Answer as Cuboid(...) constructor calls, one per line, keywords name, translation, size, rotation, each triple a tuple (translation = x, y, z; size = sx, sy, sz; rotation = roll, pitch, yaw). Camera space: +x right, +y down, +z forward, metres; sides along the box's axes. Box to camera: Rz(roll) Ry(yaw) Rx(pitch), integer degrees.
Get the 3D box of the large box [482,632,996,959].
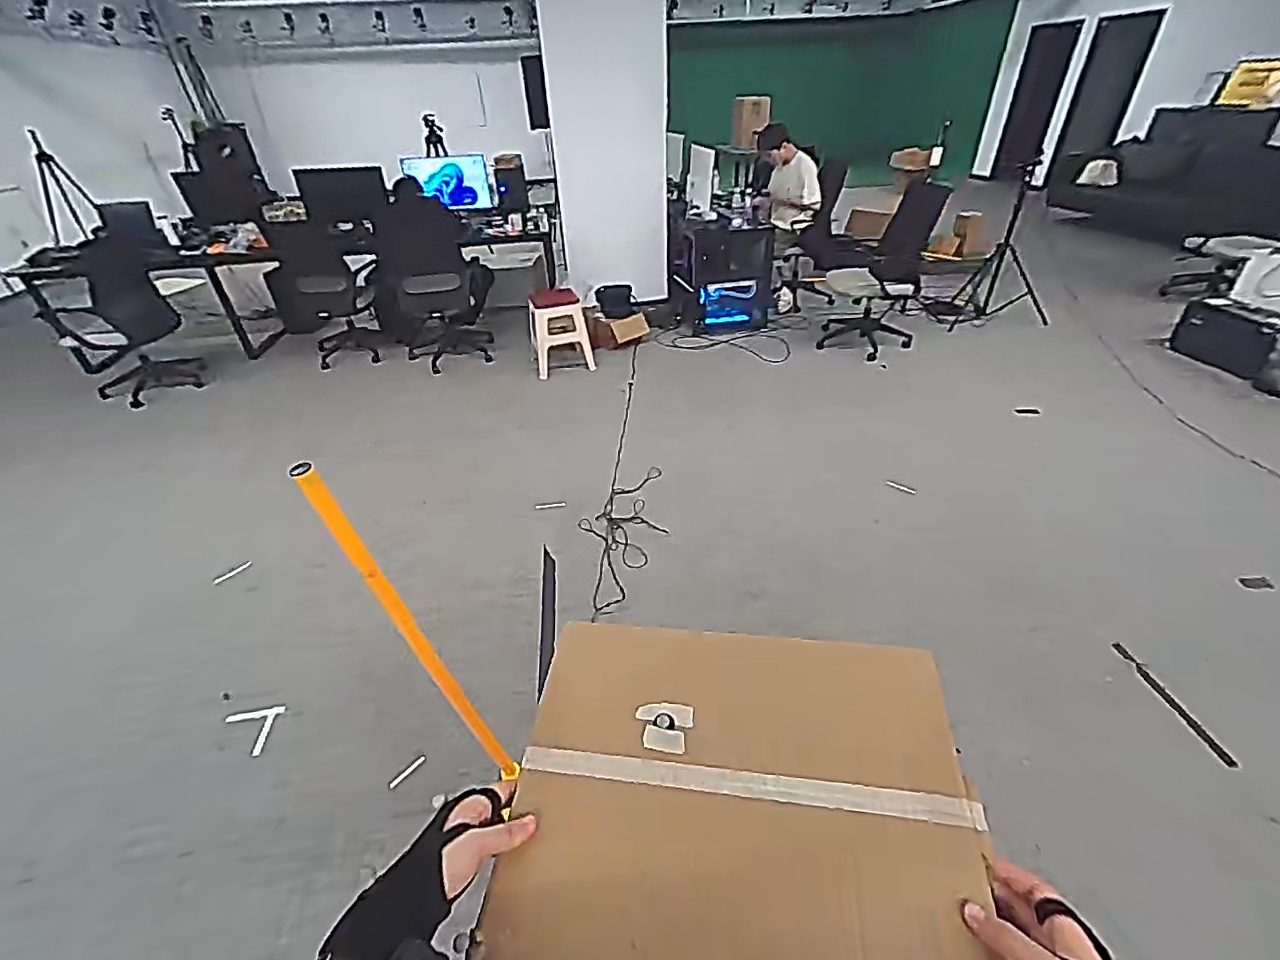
Cuboid(name="large box", translation=(0.106, 0.393, 0.610), size=(0.408, 0.320, 0.320), rotation=(0, 42, 12))
